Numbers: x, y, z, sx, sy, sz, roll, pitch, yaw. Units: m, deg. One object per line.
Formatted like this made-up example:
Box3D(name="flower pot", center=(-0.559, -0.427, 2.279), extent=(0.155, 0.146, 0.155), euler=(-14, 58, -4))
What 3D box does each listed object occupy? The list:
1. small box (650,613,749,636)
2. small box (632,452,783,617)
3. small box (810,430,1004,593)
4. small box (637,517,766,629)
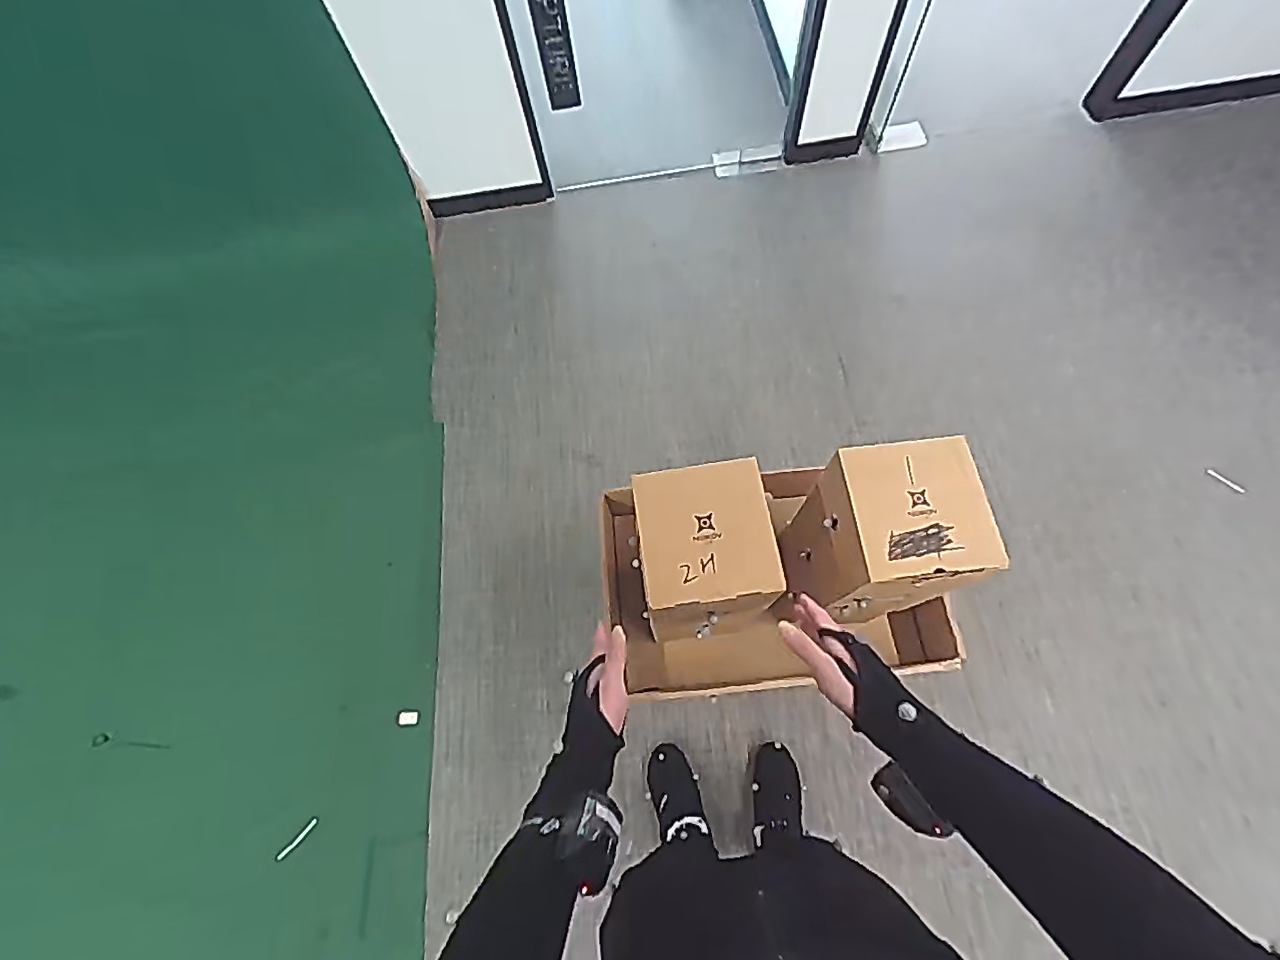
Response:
Box3D(name="small box", center=(0.102, 0.205, 1.047), extent=(0.179, 0.176, 0.168), euler=(-6, 69, 0))
Box3D(name="small box", center=(0.083, 0.082, 0.742), extent=(0.168, 0.176, 0.179), euler=(-8, 69, 1))
Box3D(name="small box", center=(0.343, 0.053, 0.736), extent=(0.168, 0.176, 0.179), euler=(-6, 68, 1))
Box3D(name="small box", center=(0.093, 0.146, 0.894), extent=(0.179, 0.176, 0.168), euler=(-8, 69, 0))
